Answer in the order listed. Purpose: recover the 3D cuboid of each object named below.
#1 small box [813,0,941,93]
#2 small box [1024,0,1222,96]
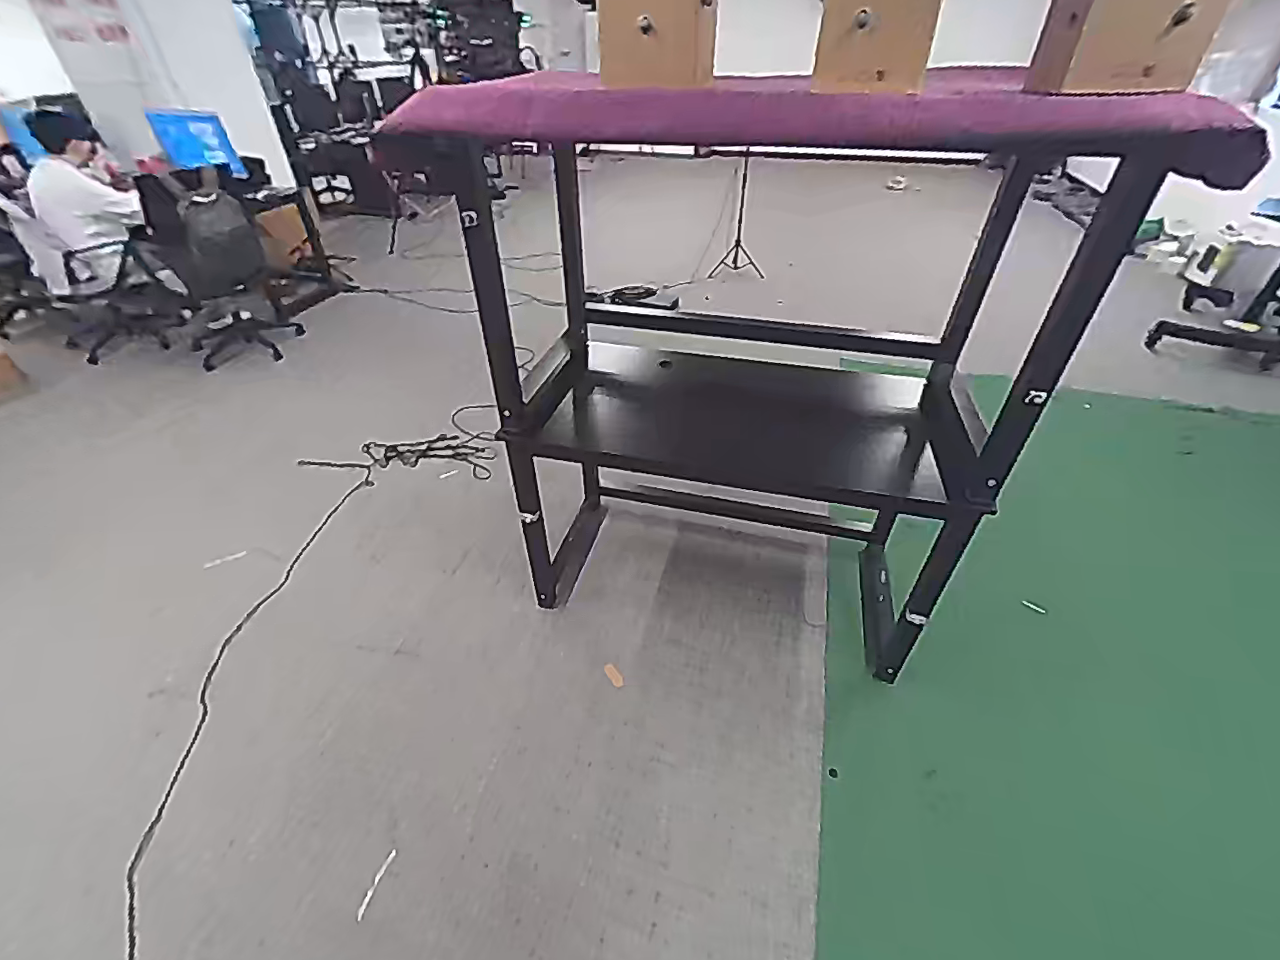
[{"bbox_3d":[0.381,-0.724,0.864,0.168,0.176,0.179,13,39,16],"label":"small box"},{"bbox_3d":[0.714,-0.676,0.800,0.168,0.176,0.179,8,37,10],"label":"small box"}]
